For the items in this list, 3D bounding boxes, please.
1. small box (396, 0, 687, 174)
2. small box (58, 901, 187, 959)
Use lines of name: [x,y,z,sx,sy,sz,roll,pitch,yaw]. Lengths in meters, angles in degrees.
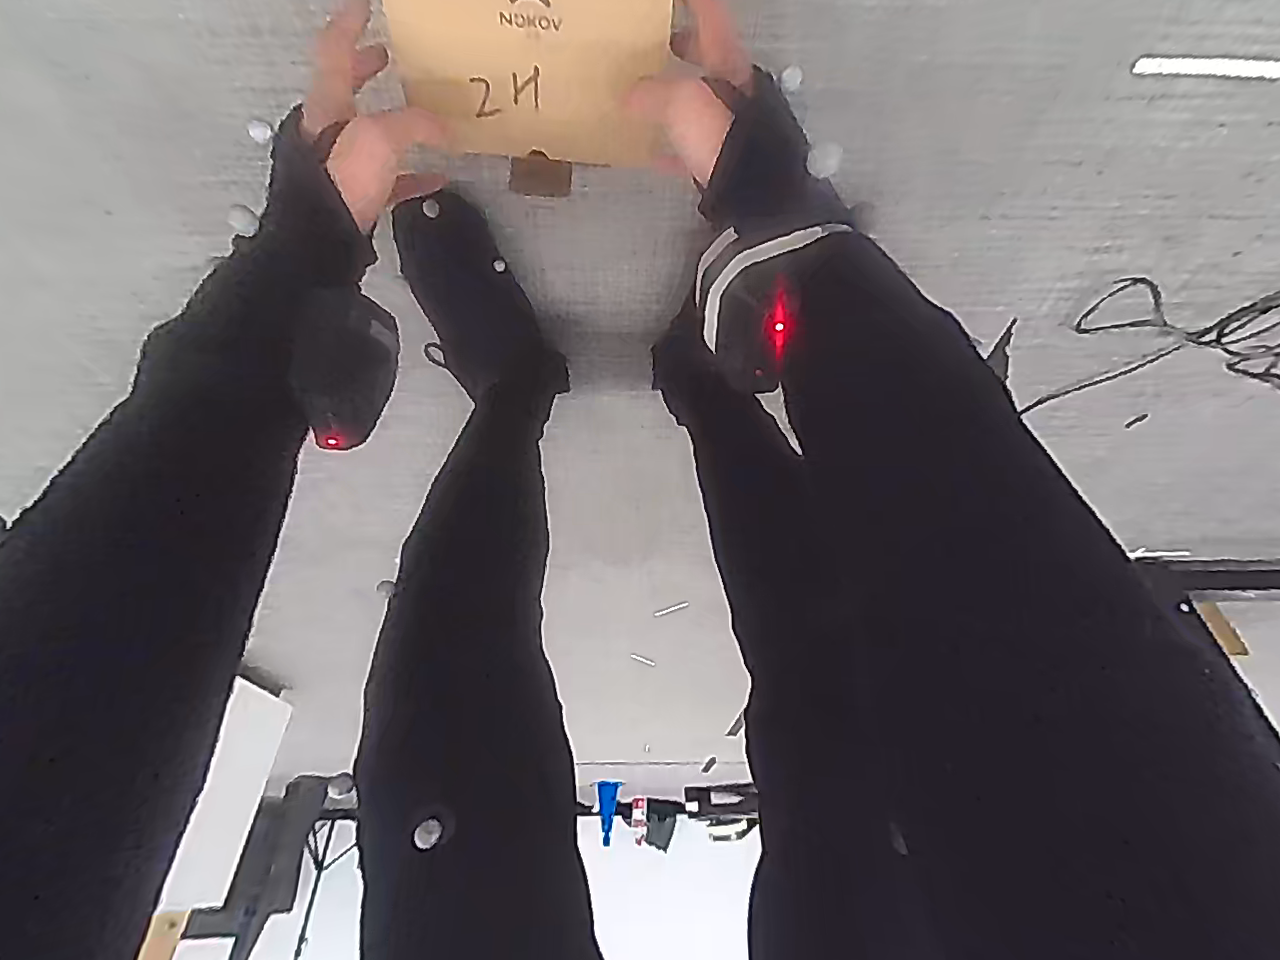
small box: [-0.056,-0.334,0.351,0.168,0.176,0.179,4,143,-4]
small box: [-1.343,1.199,1.400,0.179,0.176,0.168,3,144,-3]
